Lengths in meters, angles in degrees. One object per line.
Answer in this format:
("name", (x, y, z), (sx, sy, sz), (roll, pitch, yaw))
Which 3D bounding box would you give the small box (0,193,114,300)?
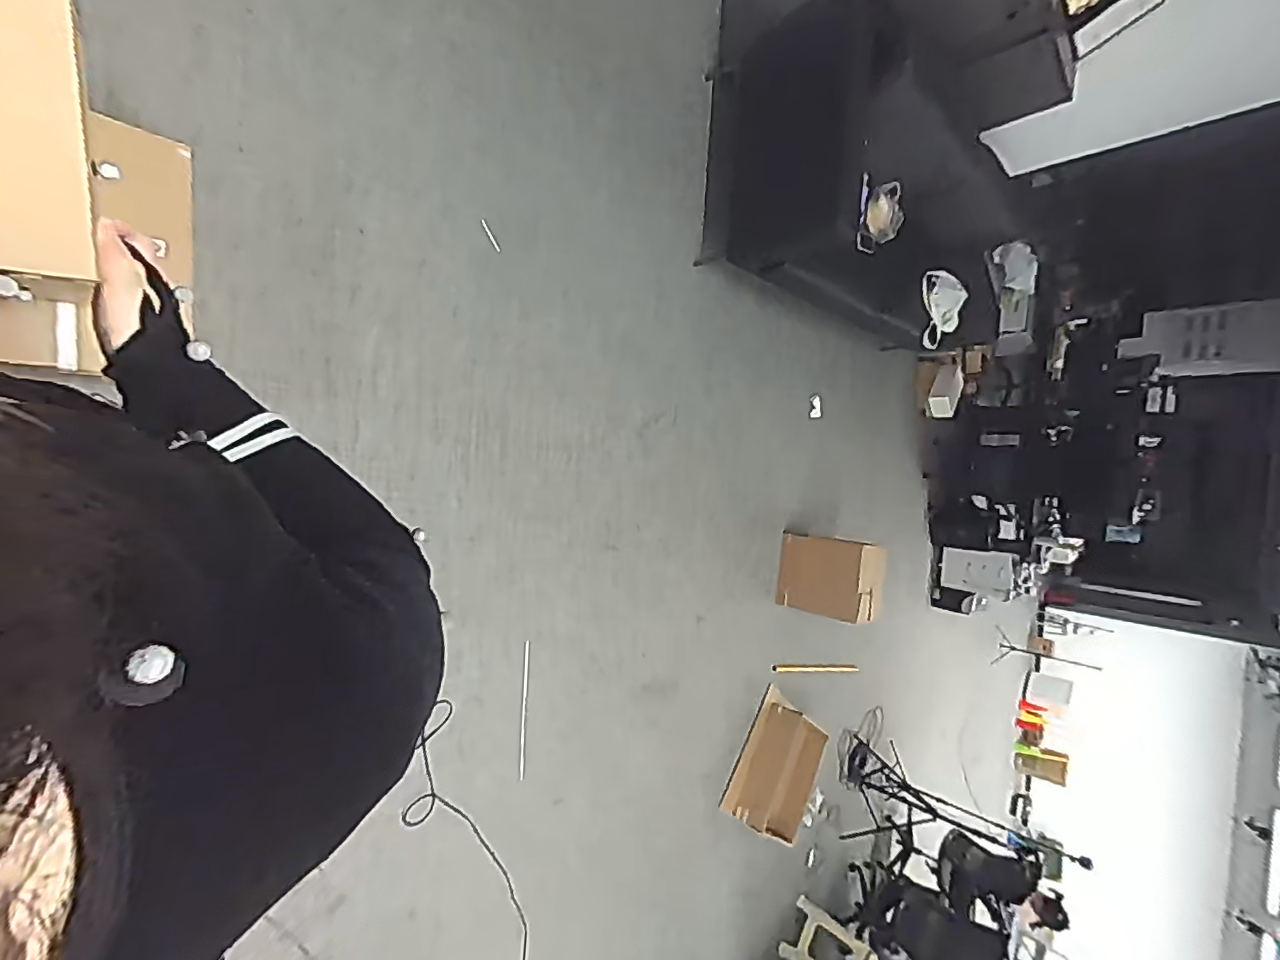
("small box", (-0.849, -0.358, 0.747), (0.168, 0.176, 0.179), (-5, 97, -43))

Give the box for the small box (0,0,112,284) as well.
("small box", (-0.448, -0.223, 0.327), (0.179, 0.176, 0.168), (-5, 109, -42))
